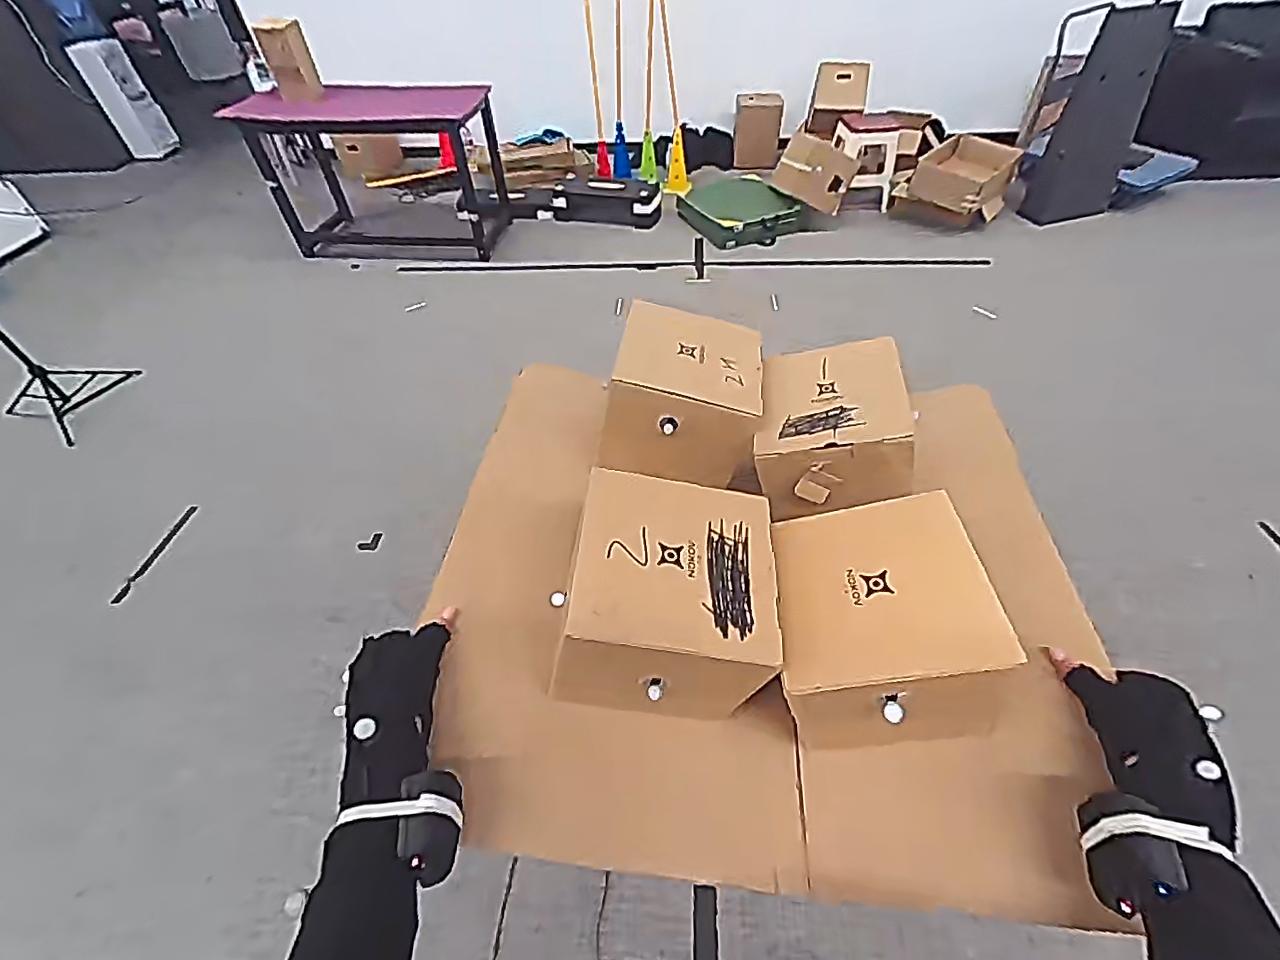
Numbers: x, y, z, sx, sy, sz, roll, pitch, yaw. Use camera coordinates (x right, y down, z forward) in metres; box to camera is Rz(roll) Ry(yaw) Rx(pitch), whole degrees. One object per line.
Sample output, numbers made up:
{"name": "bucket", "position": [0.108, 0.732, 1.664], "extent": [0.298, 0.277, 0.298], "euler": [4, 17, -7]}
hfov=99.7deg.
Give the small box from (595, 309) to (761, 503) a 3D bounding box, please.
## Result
{"name": "small box", "position": [0.046, -0.091, 0.708], "extent": [0.179, 0.176, 0.168], "euler": [14, 50, -2]}
